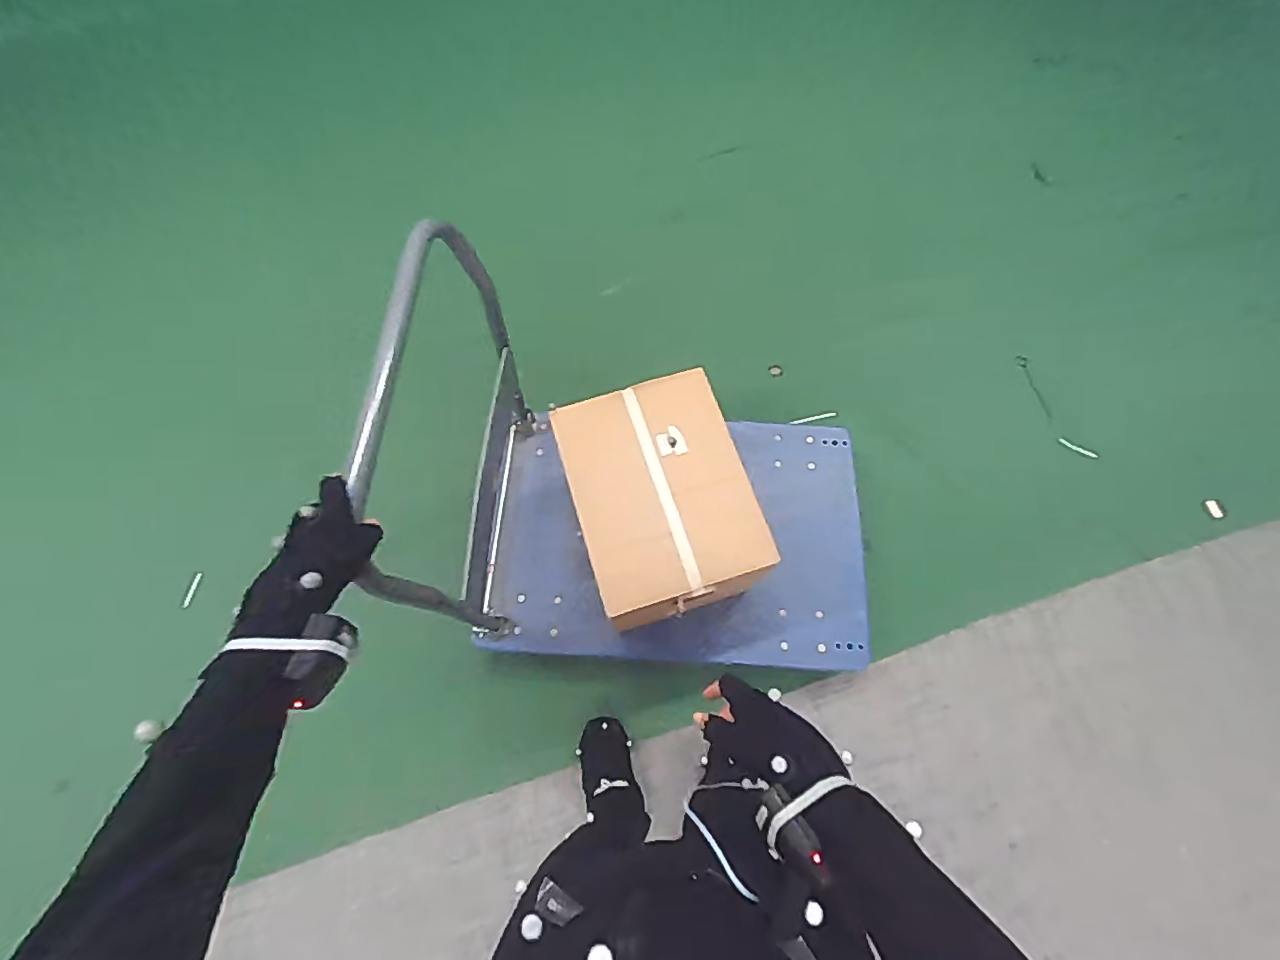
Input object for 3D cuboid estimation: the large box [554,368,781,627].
[{"bbox_3d":[0.043,0.051,1.116,0.320,0.320,0.408,-16,70,-6],"label":"large box"}]
